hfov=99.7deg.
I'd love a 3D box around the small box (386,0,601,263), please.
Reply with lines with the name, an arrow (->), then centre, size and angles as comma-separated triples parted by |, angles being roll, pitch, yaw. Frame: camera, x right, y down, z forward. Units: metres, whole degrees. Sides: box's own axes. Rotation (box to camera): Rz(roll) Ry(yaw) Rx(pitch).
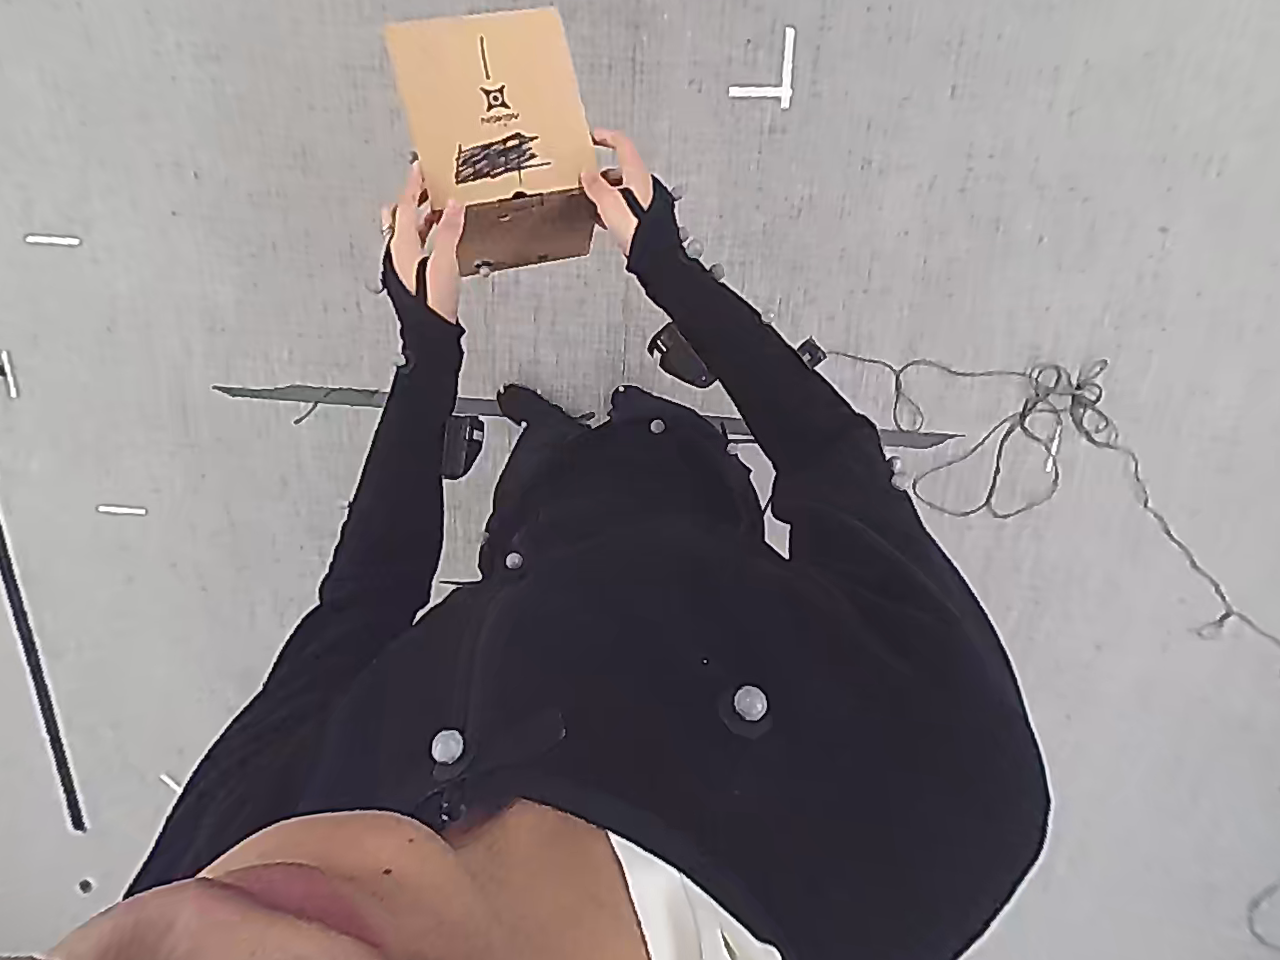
small box -> -0.145, -0.350, 0.578 | 0.168, 0.176, 0.179 | -14, 92, -10
